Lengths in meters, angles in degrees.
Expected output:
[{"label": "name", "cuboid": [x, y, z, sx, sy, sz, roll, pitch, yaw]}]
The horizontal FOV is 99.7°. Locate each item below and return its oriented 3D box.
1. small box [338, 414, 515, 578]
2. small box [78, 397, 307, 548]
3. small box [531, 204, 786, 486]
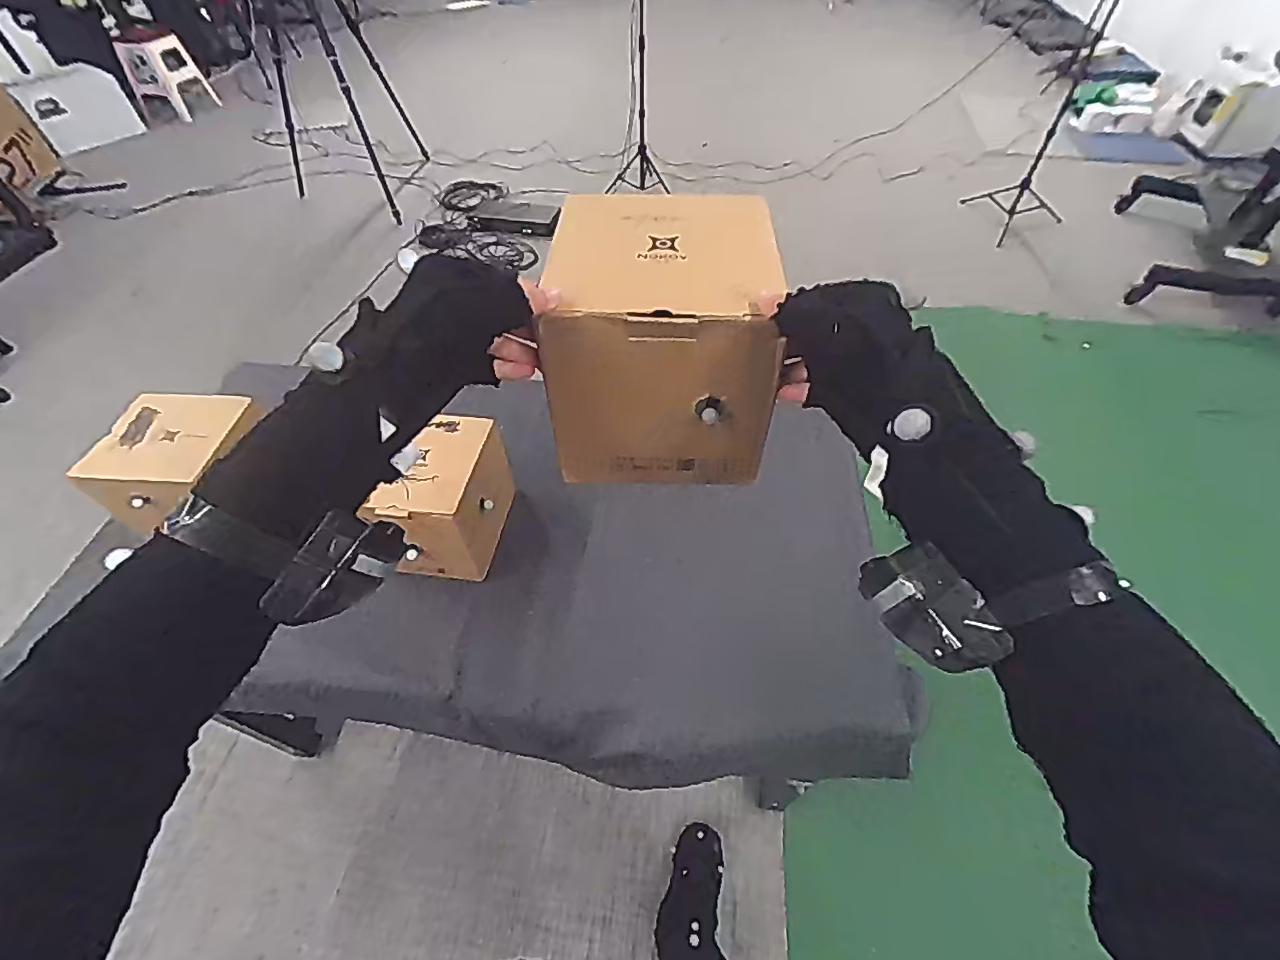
[{"label": "small box", "cuboid": [-0.296, 0.027, 0.800, 0.168, 0.176, 0.179, 5, 52, 5]}, {"label": "small box", "cuboid": [-0.664, -0.008, 0.831, 0.179, 0.176, 0.168, 3, 51, 1]}, {"label": "small box", "cuboid": [0.016, -0.110, 0.454, 0.168, 0.176, 0.179, 1, 49, 1]}]
